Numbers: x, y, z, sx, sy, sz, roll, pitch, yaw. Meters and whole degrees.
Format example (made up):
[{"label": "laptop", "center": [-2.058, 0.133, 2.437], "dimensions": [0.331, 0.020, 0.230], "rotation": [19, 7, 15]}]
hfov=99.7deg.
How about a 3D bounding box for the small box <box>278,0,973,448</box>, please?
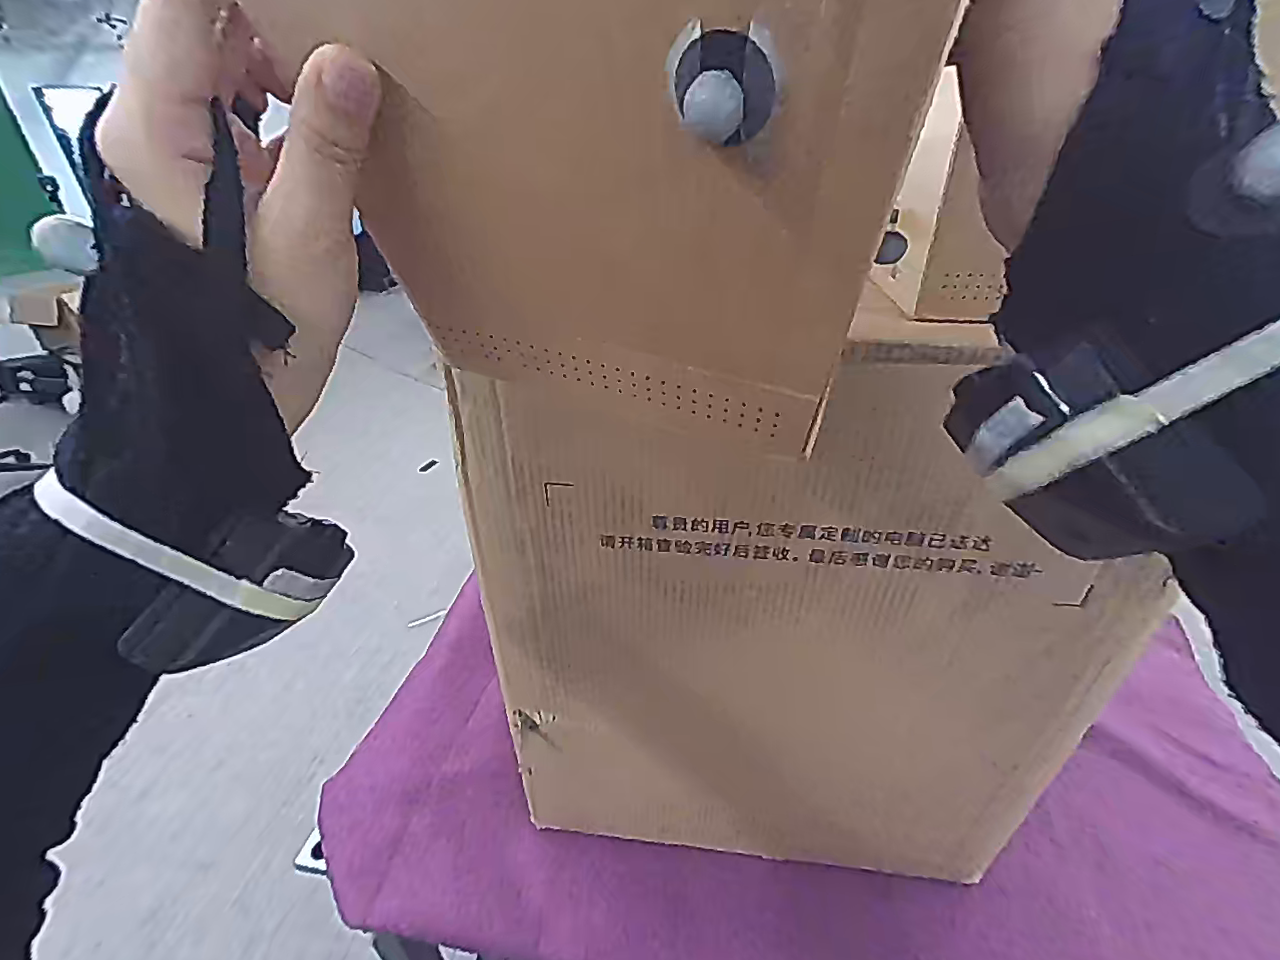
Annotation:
[{"label": "small box", "center": [0.011, -0.134, 0.206], "dimensions": [0.179, 0.176, 0.168], "rotation": [17, 64, 13]}]
